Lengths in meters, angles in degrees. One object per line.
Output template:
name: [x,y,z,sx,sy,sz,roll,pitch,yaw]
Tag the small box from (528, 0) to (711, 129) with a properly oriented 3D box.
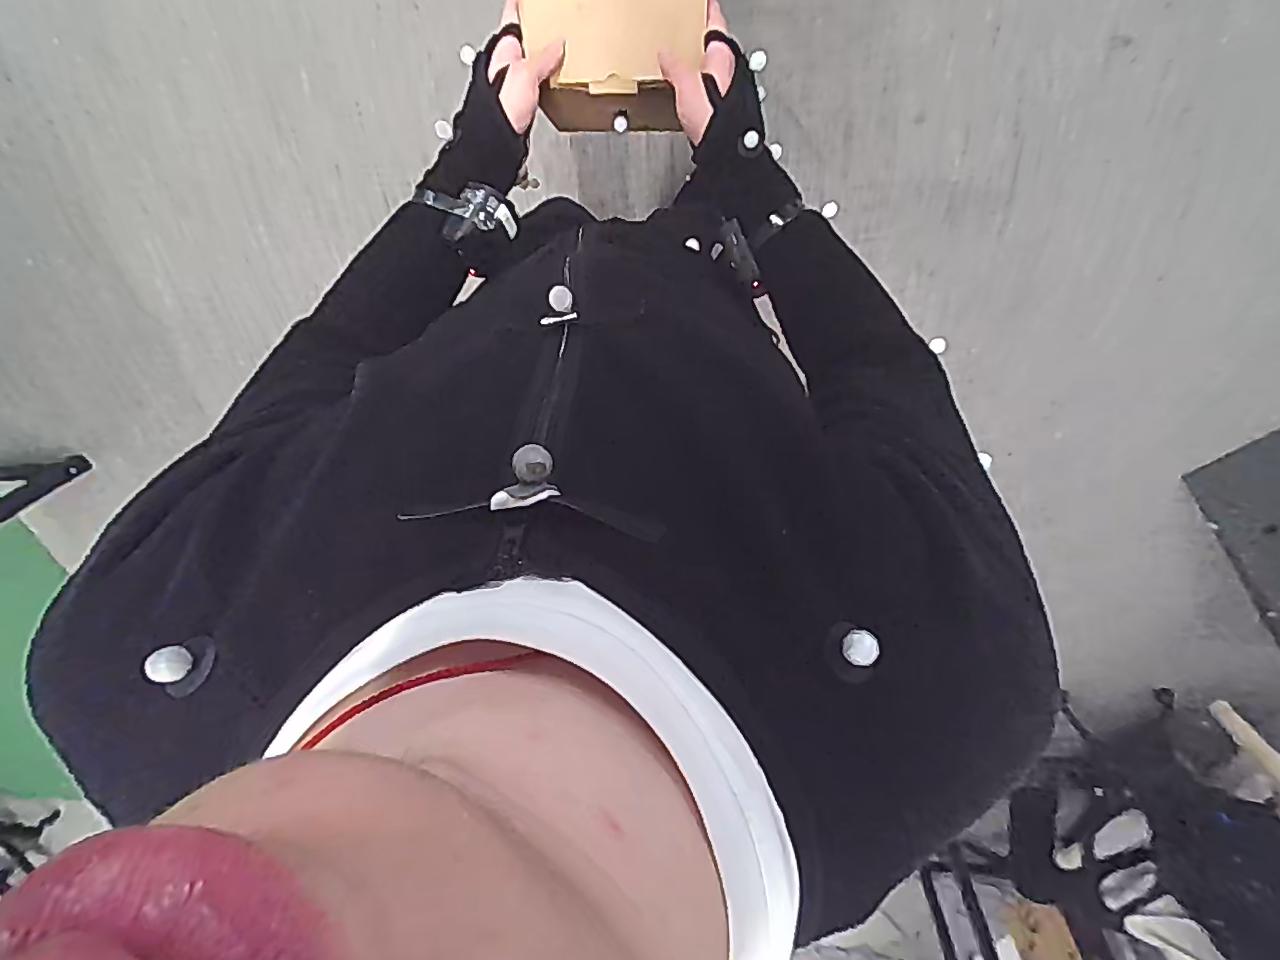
small box: [-0.014,-0.469,0.543,0.168,0.176,0.179,-1,111,3]
